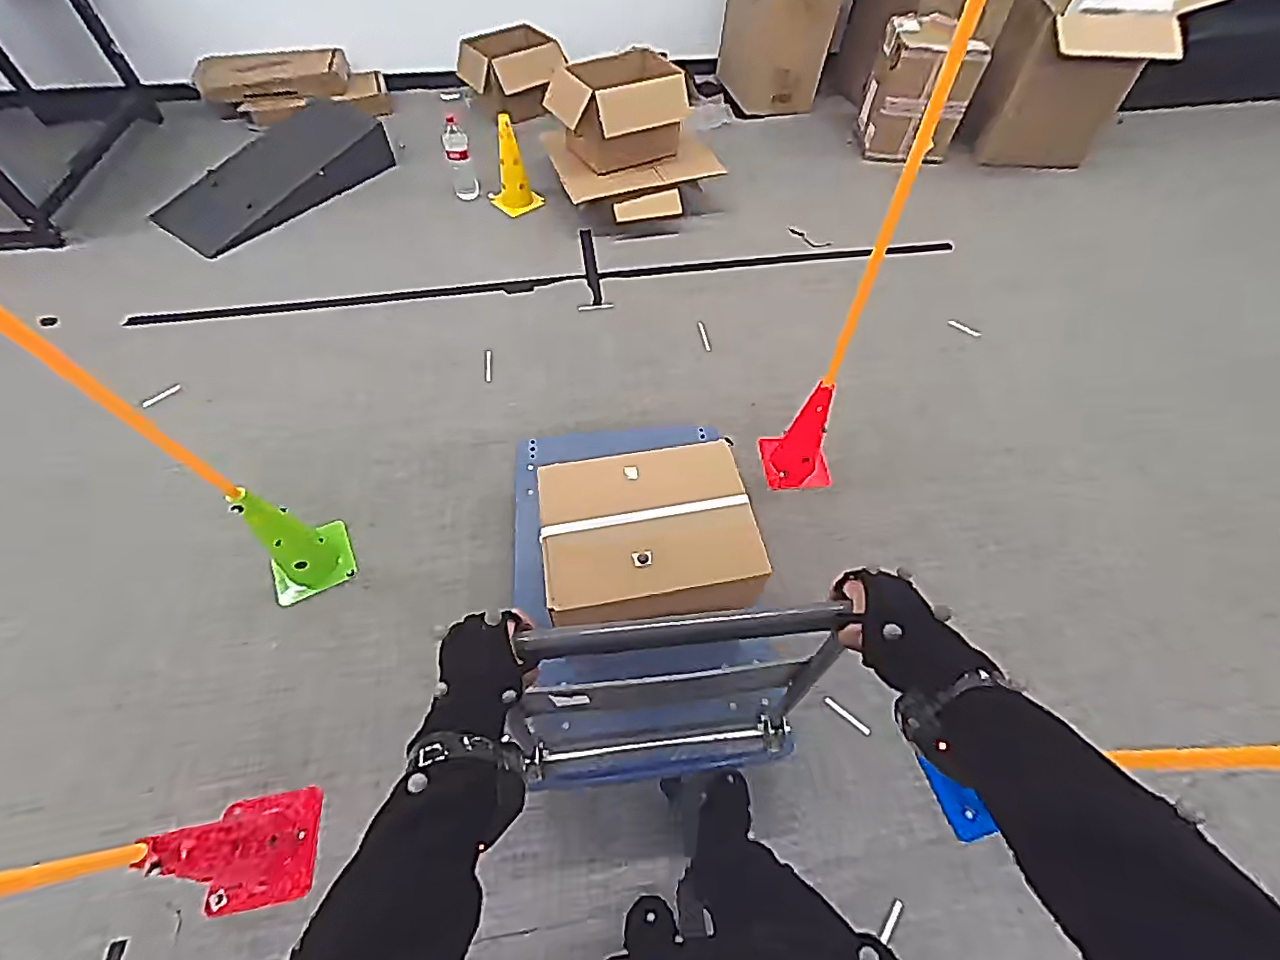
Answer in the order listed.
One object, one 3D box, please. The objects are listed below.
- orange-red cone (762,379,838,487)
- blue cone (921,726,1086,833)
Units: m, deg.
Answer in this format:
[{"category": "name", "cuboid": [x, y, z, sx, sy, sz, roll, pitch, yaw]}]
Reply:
[{"category": "orange-red cone", "cuboid": [0.496, -0.154, 1.557, 0.199, 0.360, 0.198, -1, 57, -3]}, {"category": "blue cone", "cuboid": [0.760, 0.581, 1.089, 0.193, 0.380, 0.192, -10, 56, -8]}]
